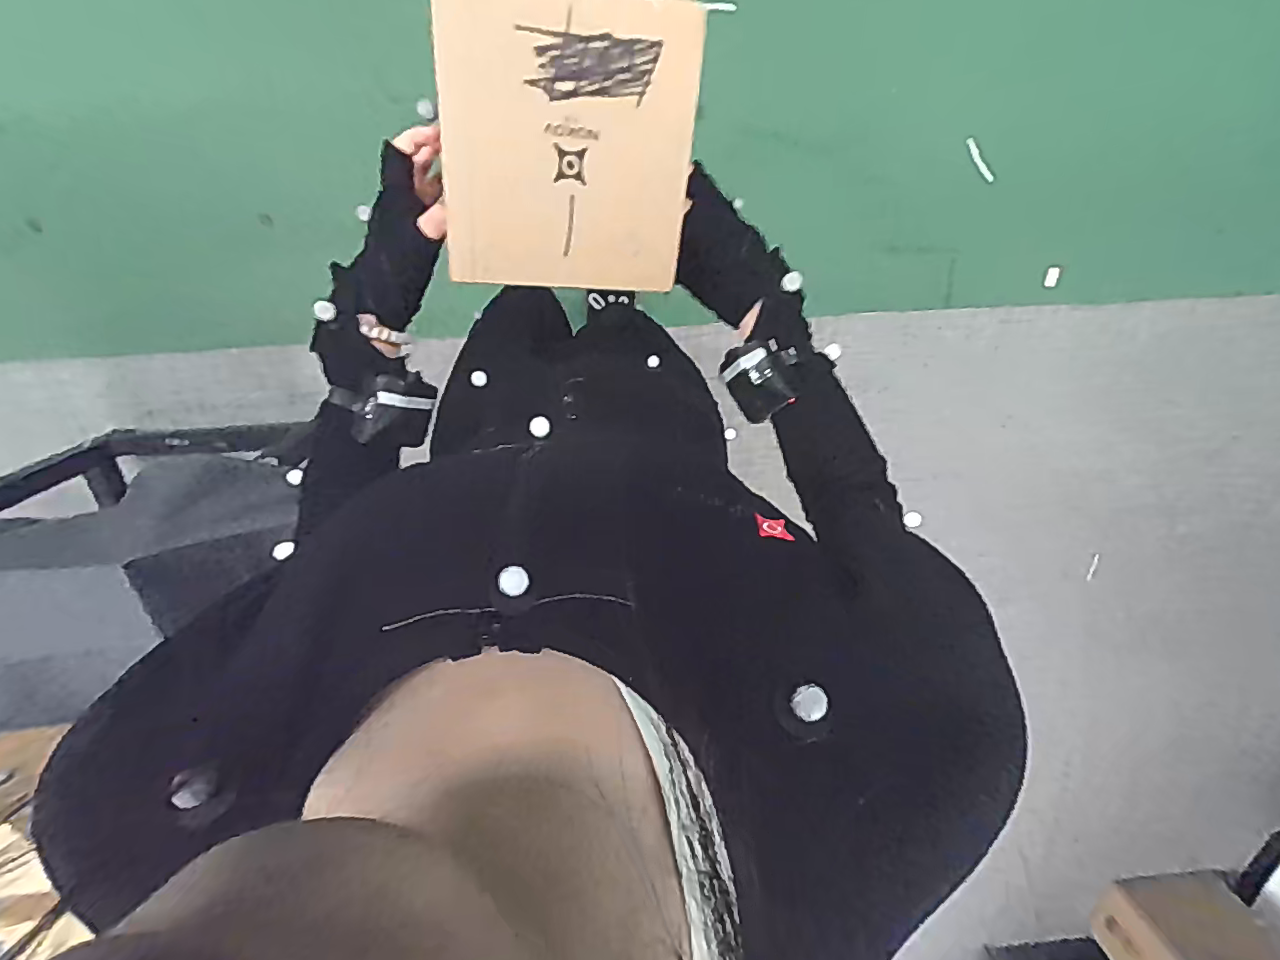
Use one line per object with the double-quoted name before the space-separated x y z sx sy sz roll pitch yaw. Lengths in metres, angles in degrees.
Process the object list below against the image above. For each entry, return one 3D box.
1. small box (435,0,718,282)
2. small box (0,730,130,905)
"small box" -0.062 -0.259 0.407 0.168 0.176 0.179 -4 121 -18
"small box" -0.942 0.507 0.821 0.179 0.176 0.168 -7 115 -3
